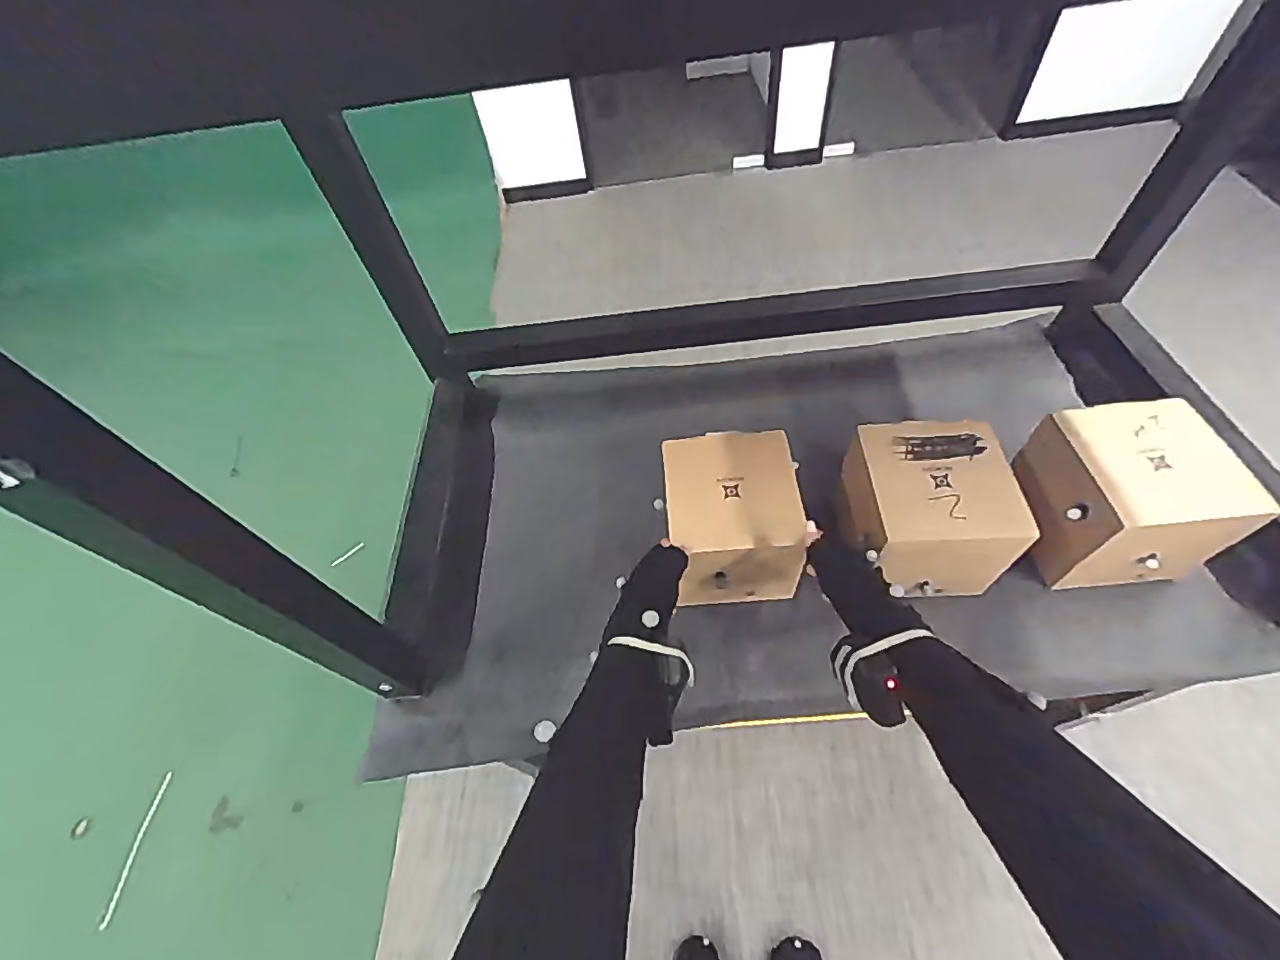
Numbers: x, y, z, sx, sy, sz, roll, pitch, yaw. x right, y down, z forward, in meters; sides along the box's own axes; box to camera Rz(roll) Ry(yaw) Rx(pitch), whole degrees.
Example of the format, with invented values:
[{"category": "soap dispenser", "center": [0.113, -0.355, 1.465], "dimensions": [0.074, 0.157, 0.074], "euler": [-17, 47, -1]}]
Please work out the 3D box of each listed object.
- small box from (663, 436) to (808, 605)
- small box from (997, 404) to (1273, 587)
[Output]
[{"category": "small box", "center": [0.124, 0.064, 0.746], "dimensions": [0.168, 0.176, 0.179], "euler": [-5, 54, 4]}, {"category": "small box", "center": [0.614, 0.029, 0.704], "dimensions": [0.168, 0.176, 0.179], "euler": [-6, 53, 3]}]
